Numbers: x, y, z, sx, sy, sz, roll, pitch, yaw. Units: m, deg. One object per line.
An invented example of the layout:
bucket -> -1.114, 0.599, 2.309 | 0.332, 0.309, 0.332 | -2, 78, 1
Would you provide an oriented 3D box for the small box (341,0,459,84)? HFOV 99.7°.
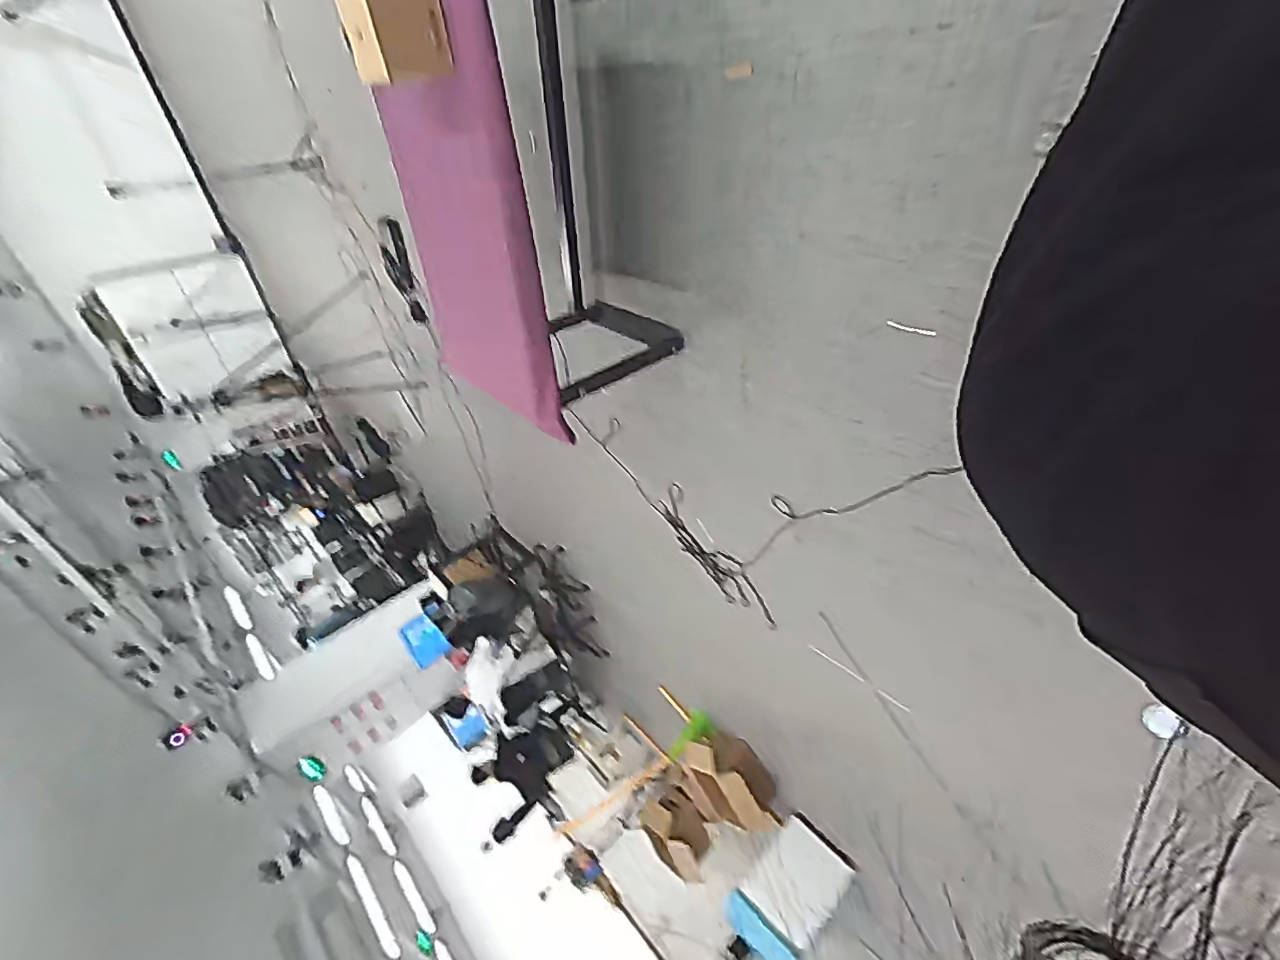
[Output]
small box -> -0.538, -1.006, 1.224 | 0.179, 0.176, 0.168 | 31, 141, 39
